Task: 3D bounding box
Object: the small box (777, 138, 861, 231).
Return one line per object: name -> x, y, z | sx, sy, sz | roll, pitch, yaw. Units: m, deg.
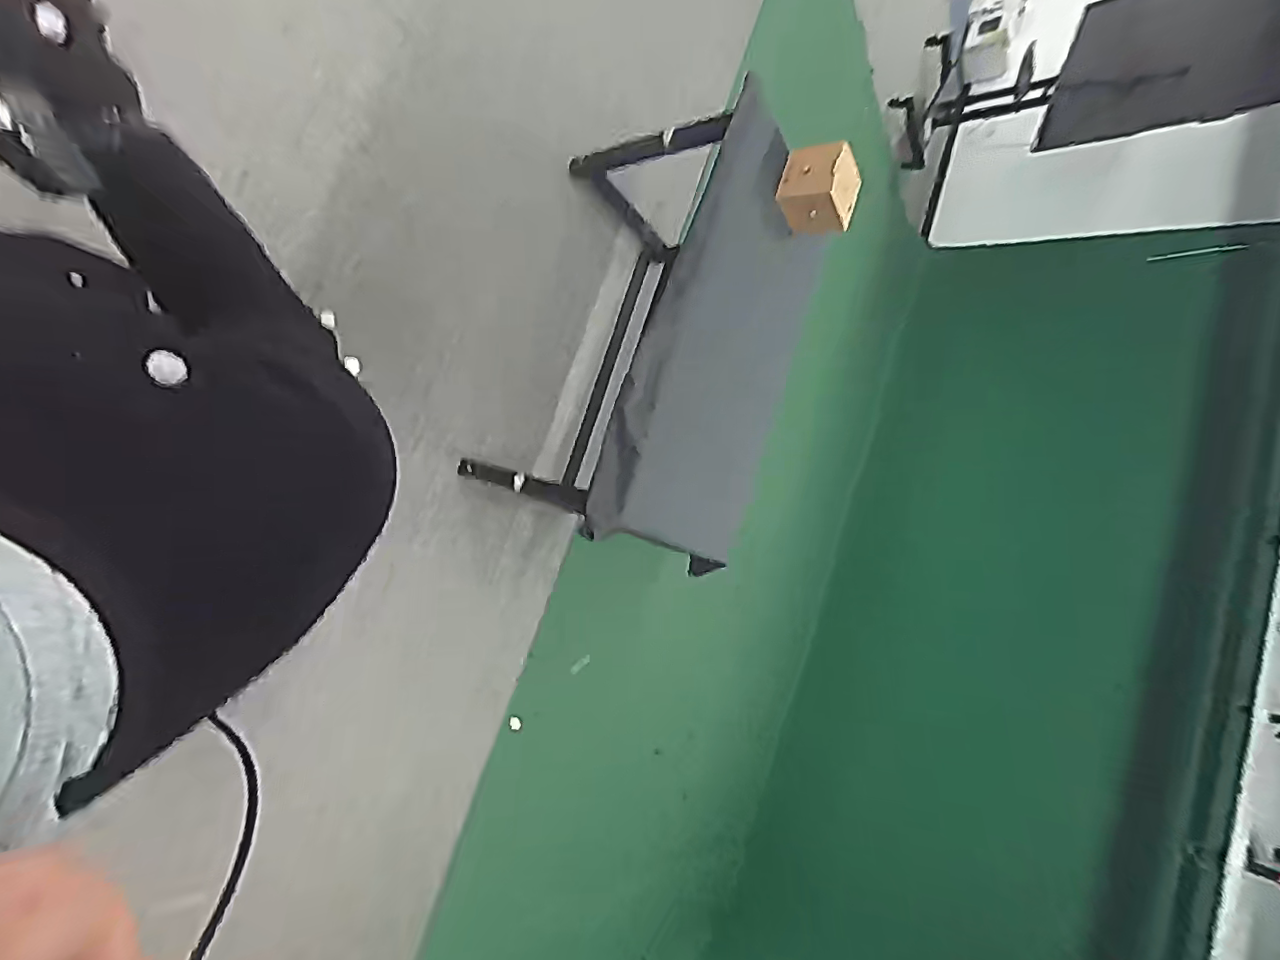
small box -> 0.527, -0.862, 1.599 | 0.179, 0.176, 0.168 | 26, 82, -50
